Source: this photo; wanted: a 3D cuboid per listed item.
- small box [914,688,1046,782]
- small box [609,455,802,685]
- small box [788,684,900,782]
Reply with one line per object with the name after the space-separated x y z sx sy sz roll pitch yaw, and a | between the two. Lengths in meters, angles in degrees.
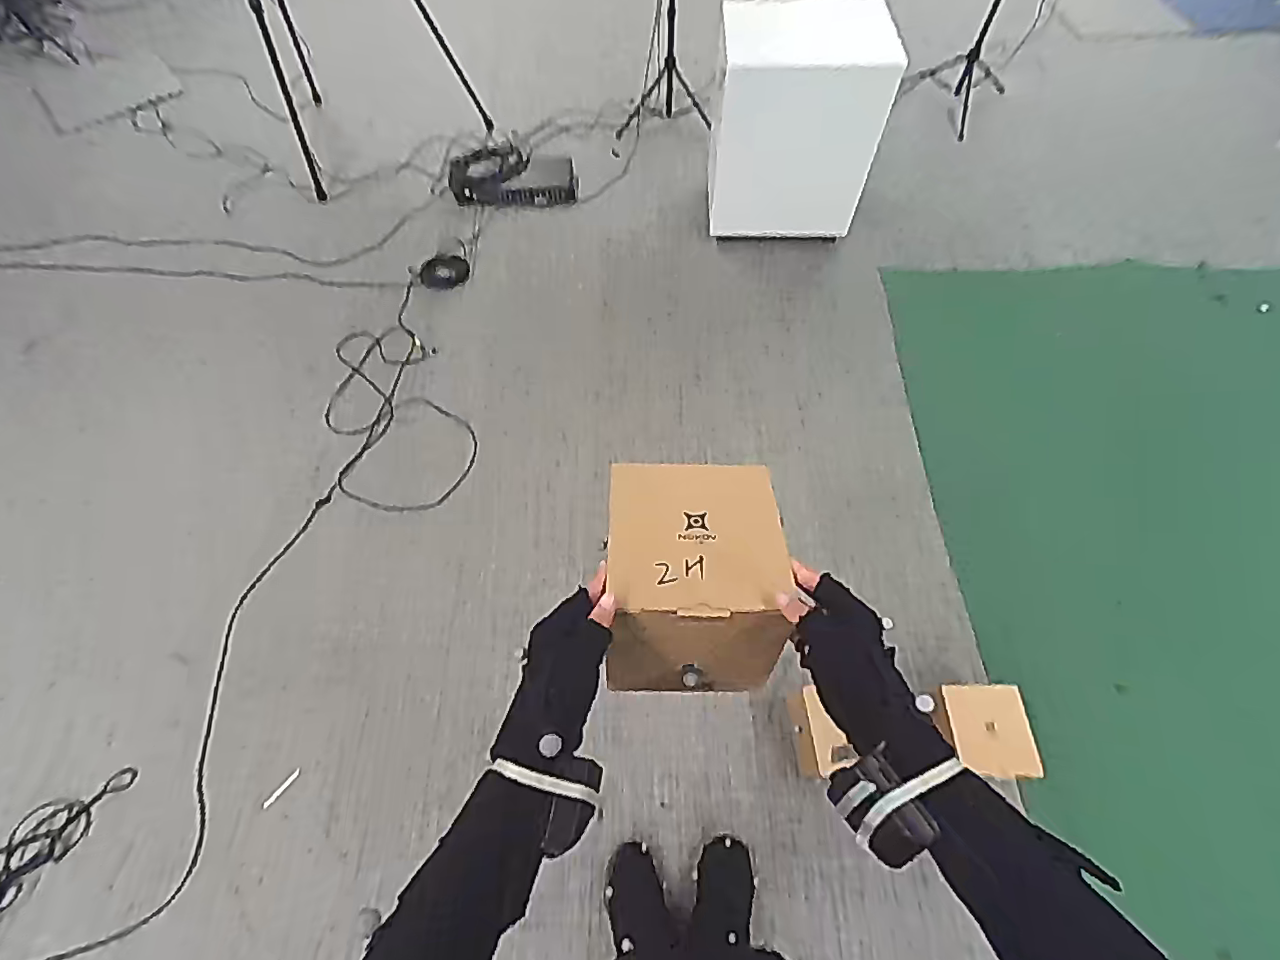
0.732 0.564 1.190 0.168 0.176 0.179 -1 61 1 | small box
0.053 0.094 0.566 0.168 0.176 0.179 1 47 -1 | small box
0.439 0.561 1.194 0.168 0.176 0.179 -4 60 -2 | small box
